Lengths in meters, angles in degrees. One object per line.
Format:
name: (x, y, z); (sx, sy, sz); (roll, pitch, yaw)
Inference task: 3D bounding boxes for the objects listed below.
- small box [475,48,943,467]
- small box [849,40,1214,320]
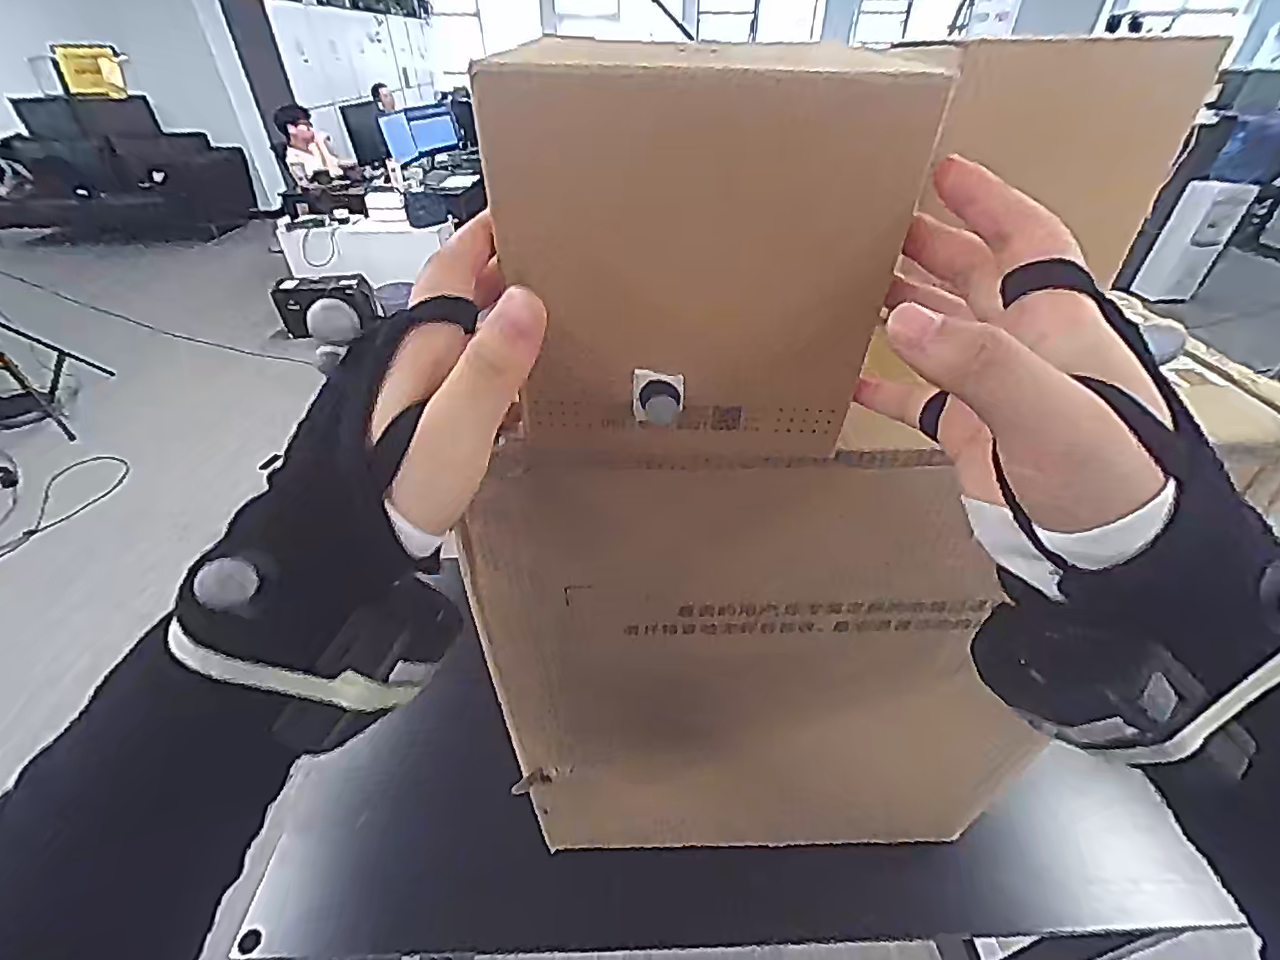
small box: (0.022, -0.126, 0.300); (0.168, 0.176, 0.179); (-1, 43, 0)
small box: (0.255, -0.238, 0.431); (0.168, 0.176, 0.179); (-3, 38, -2)
